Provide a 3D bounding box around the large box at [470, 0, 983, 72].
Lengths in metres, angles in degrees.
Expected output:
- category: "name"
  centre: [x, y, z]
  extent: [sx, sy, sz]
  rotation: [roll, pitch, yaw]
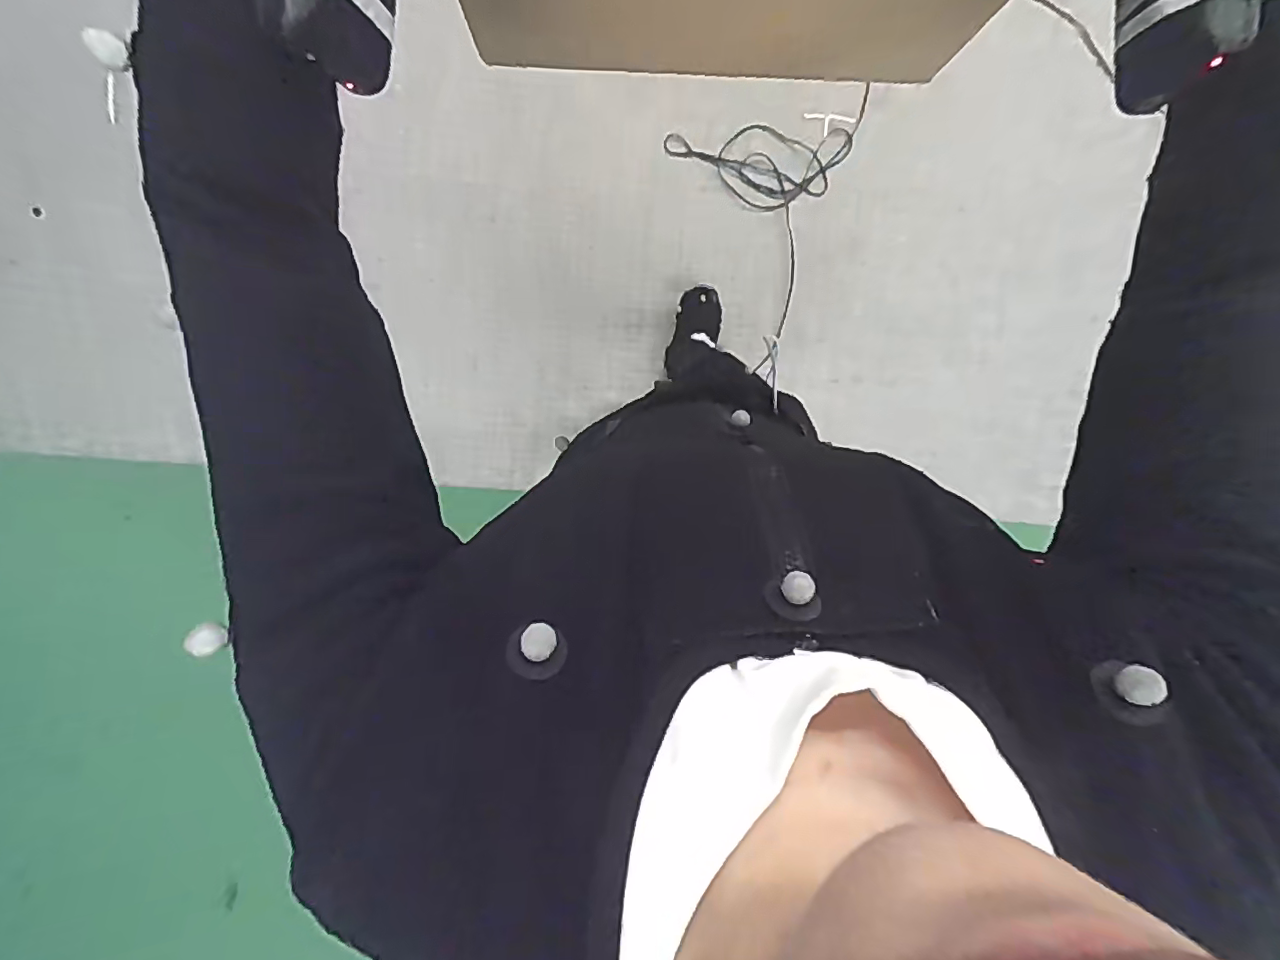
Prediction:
- category: "large box"
  centre: [0.071, -0.501, 0.323]
  extent: [0.408, 0.320, 0.320]
  rotation: [-1, 98, -4]
